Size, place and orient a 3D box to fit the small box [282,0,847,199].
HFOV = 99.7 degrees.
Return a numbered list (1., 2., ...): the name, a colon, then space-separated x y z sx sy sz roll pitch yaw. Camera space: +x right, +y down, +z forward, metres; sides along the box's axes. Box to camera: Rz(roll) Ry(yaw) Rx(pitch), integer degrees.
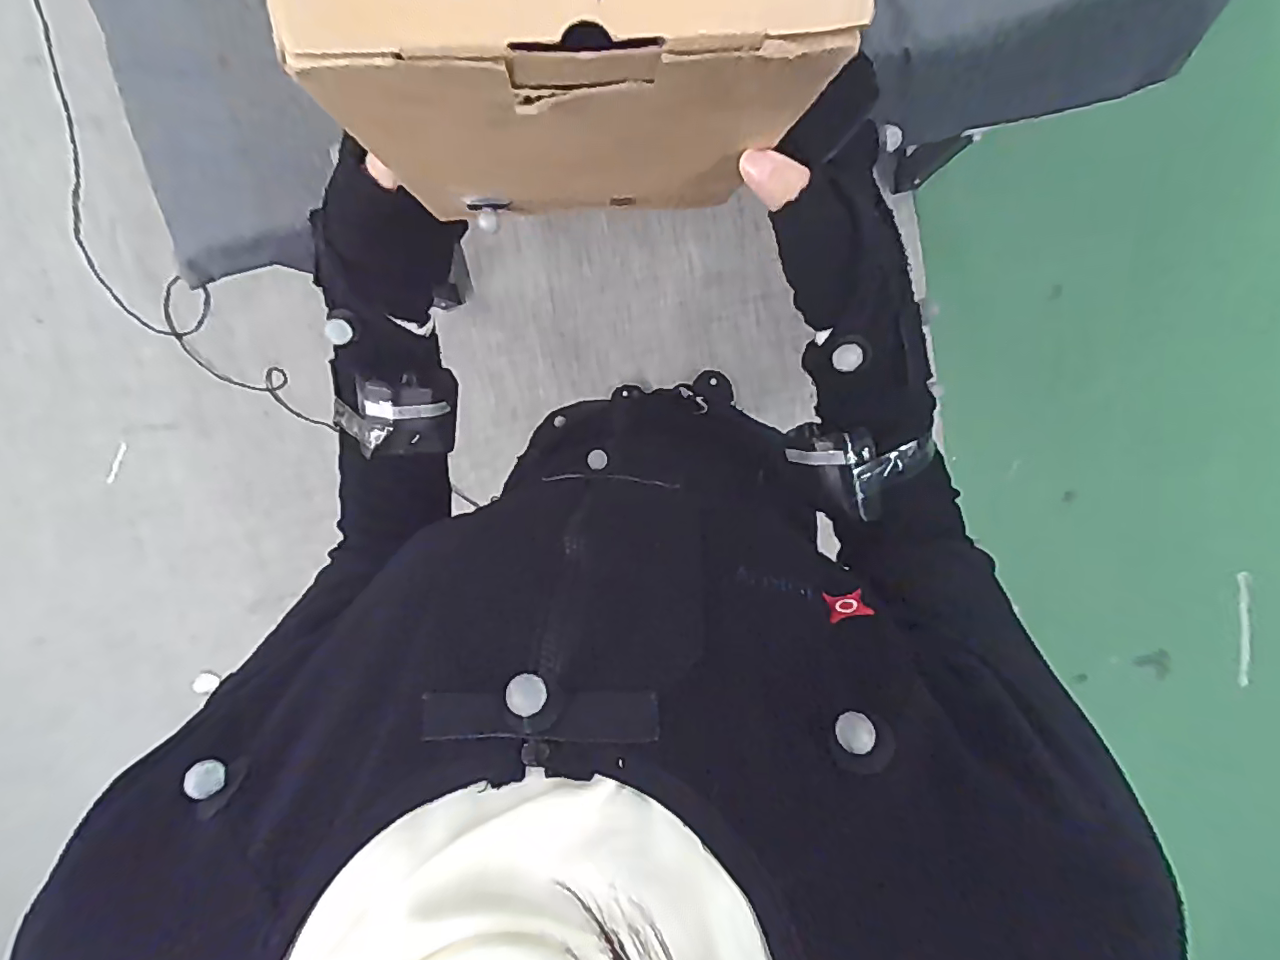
1. small box: -0.031 -0.227 0.217 0.168 0.176 0.179 -5 101 -5
